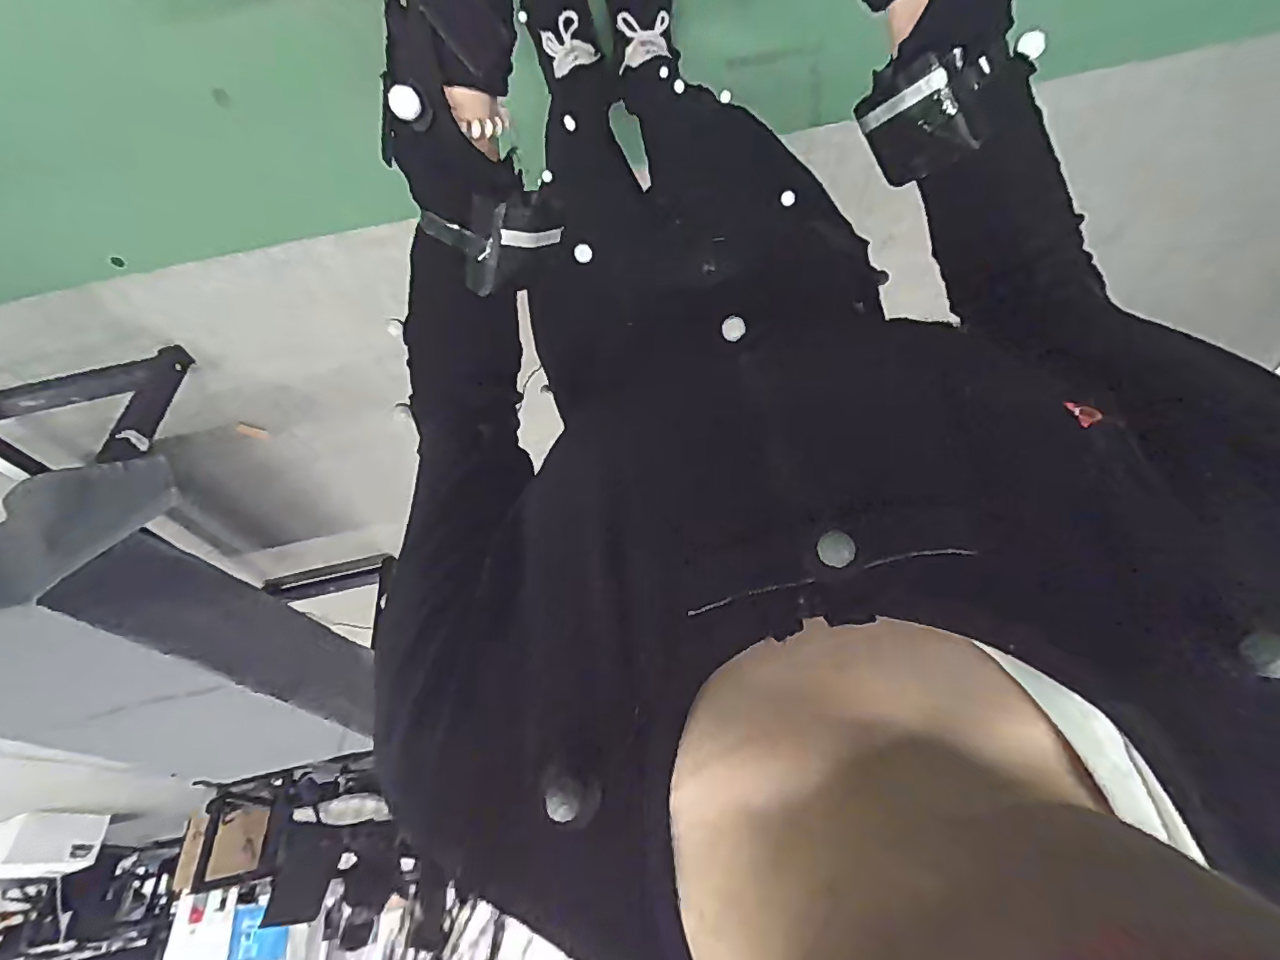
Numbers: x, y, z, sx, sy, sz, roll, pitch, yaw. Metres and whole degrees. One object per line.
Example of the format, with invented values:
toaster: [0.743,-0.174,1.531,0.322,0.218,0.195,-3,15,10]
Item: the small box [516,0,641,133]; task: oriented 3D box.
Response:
small box: [-0.118,-0.790,0.996,0.179,0.176,0.168,22,144,-14]
